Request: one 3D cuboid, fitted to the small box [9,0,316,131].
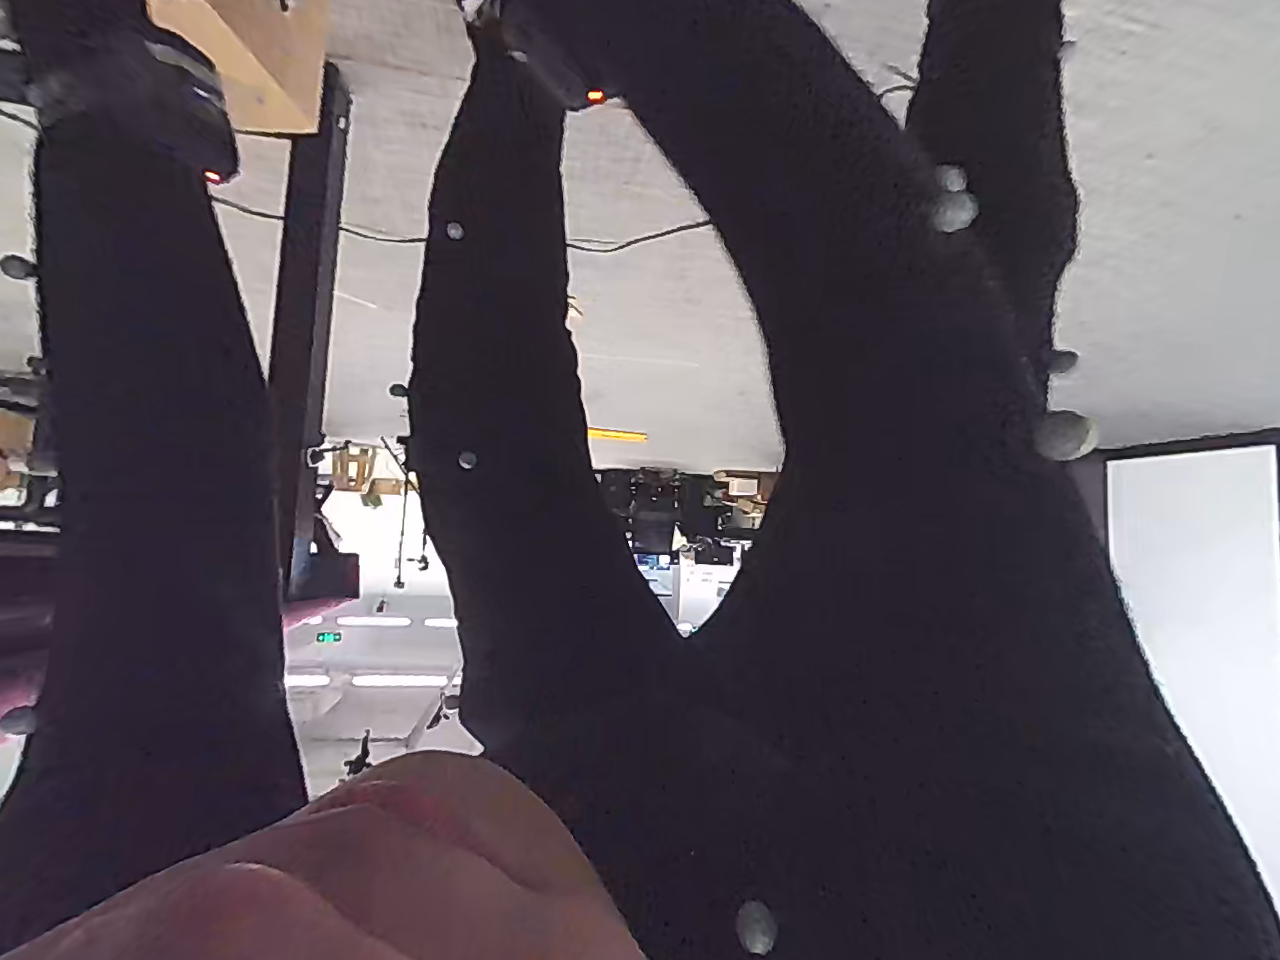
[{"bbox_3d":[-0.444,-0.479,0.524,0.179,0.176,0.168,3,175,0],"label":"small box"}]
